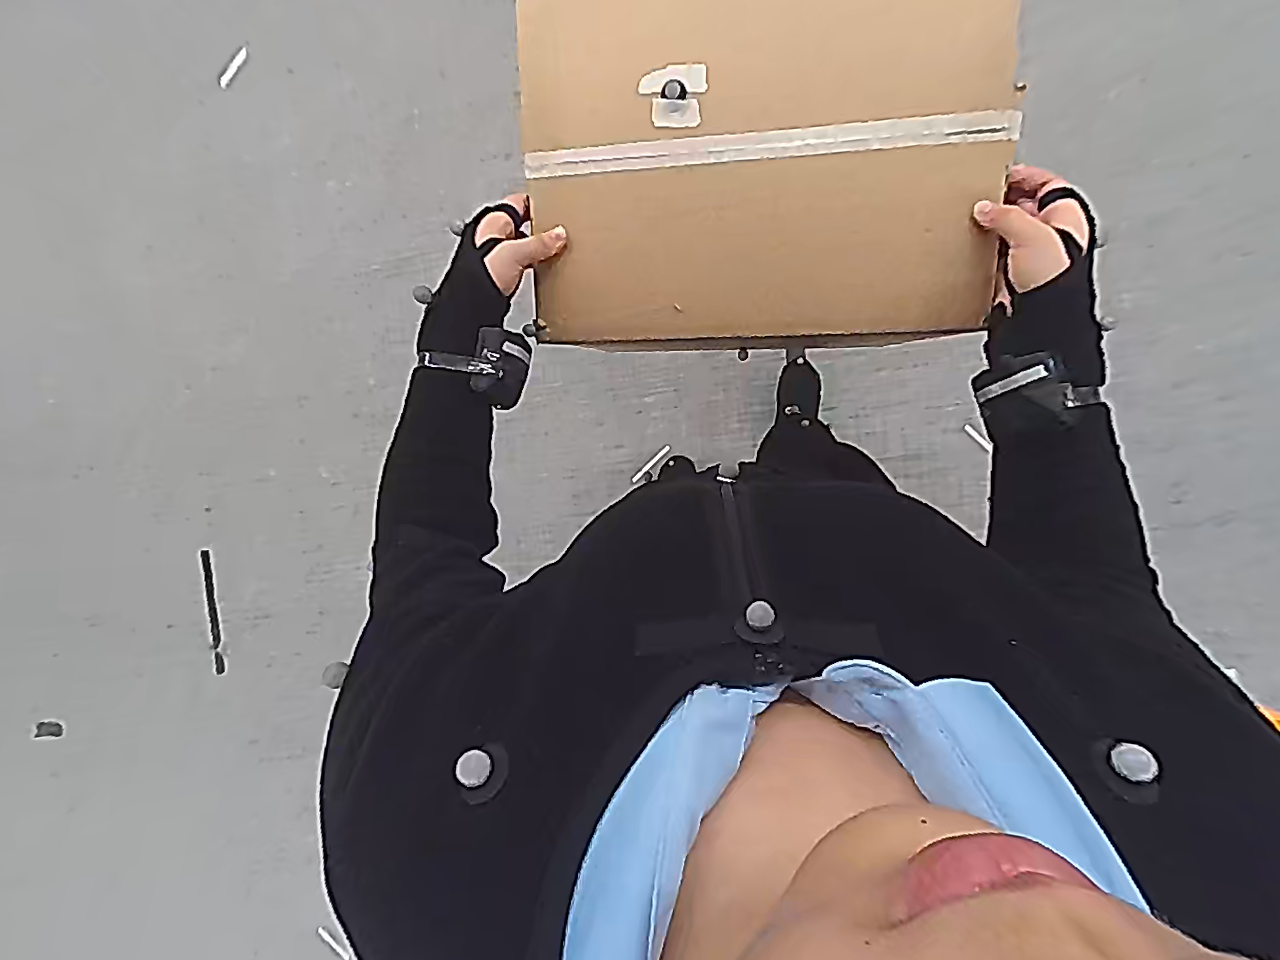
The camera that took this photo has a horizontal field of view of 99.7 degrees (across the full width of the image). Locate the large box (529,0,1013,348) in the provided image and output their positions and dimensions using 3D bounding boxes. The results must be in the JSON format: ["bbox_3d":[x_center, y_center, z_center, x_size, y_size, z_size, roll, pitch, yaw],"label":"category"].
[{"bbox_3d":[0.127,-0.320,0.618,0.408,0.320,0.320,0,100,10],"label":"large box"}]
